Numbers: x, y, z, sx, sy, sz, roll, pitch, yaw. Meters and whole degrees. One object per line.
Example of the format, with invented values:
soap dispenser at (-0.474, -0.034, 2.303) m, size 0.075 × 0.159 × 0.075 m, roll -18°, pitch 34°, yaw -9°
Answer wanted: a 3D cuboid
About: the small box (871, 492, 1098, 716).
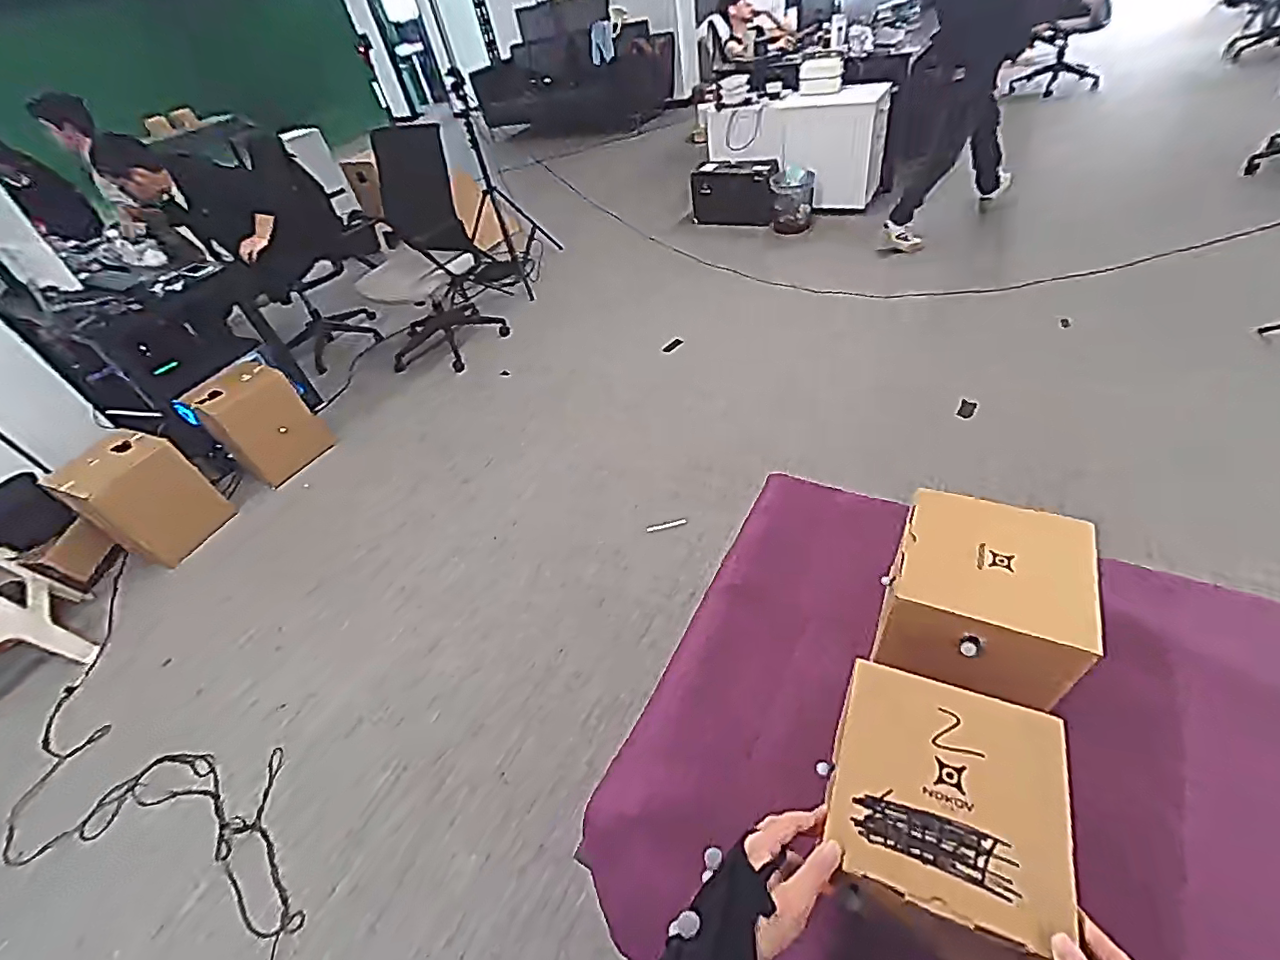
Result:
small box at (0.384, 0.144, 0.623) m, size 0.179 × 0.176 × 0.168 m, roll 14°, pitch 50°, yaw 25°
